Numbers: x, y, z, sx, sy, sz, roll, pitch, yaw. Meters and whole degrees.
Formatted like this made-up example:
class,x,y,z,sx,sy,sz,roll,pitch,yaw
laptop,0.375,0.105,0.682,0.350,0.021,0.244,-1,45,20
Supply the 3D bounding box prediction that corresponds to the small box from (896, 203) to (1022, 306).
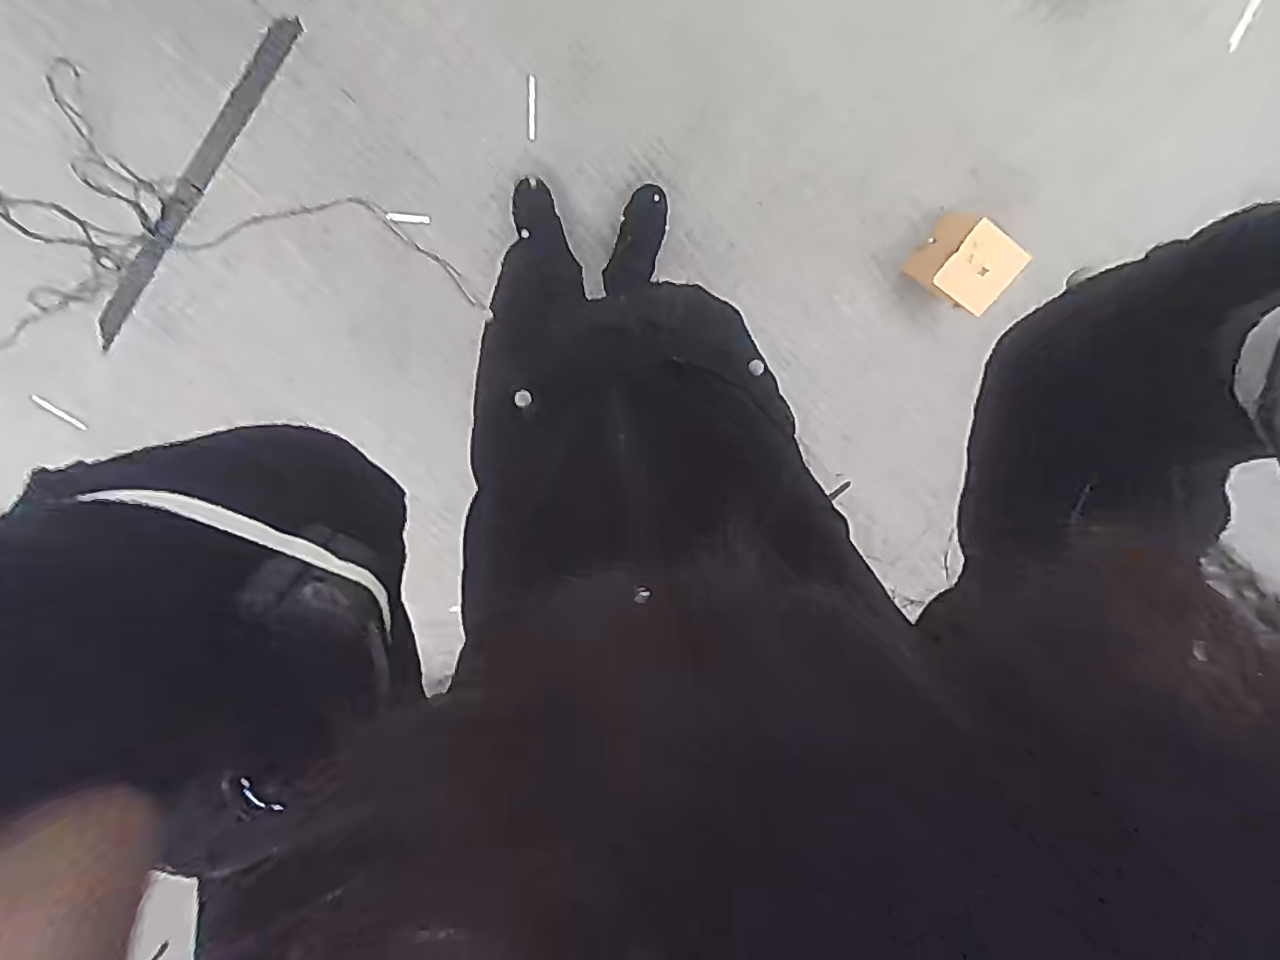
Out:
class,x,y,z,sx,sy,sz,roll,pitch,yaw
small box,0.789,-0.571,1.355,0.179,0.176,0.168,27,117,-18
